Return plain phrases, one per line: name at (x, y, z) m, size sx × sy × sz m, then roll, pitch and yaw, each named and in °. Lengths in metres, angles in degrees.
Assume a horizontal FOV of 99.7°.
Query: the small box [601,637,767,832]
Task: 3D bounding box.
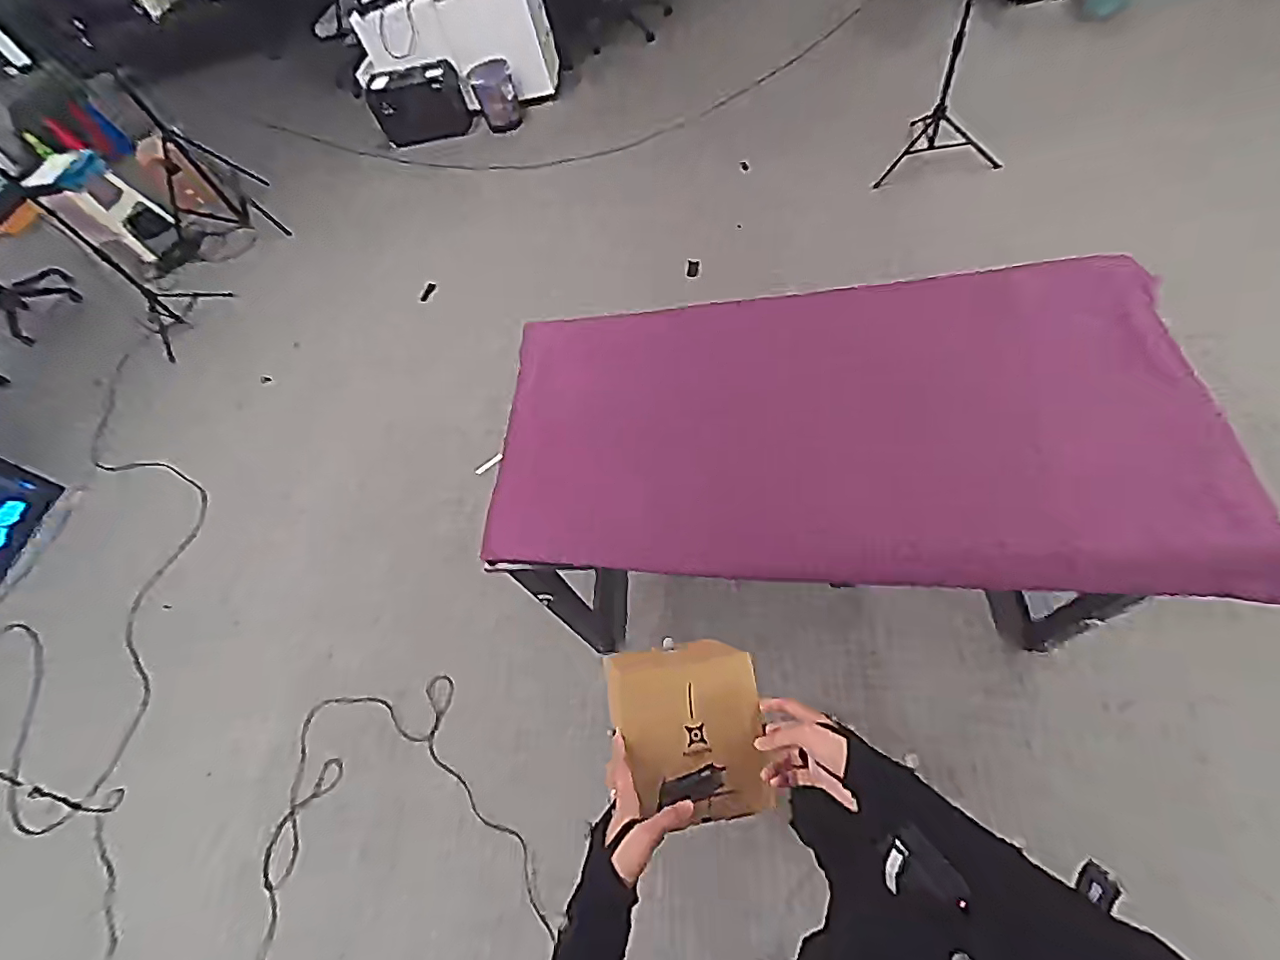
small box at (0.045, 0.312, 0.700) m, size 0.168 × 0.176 × 0.179 m, roll -7°, pitch 80°, yaw -11°
